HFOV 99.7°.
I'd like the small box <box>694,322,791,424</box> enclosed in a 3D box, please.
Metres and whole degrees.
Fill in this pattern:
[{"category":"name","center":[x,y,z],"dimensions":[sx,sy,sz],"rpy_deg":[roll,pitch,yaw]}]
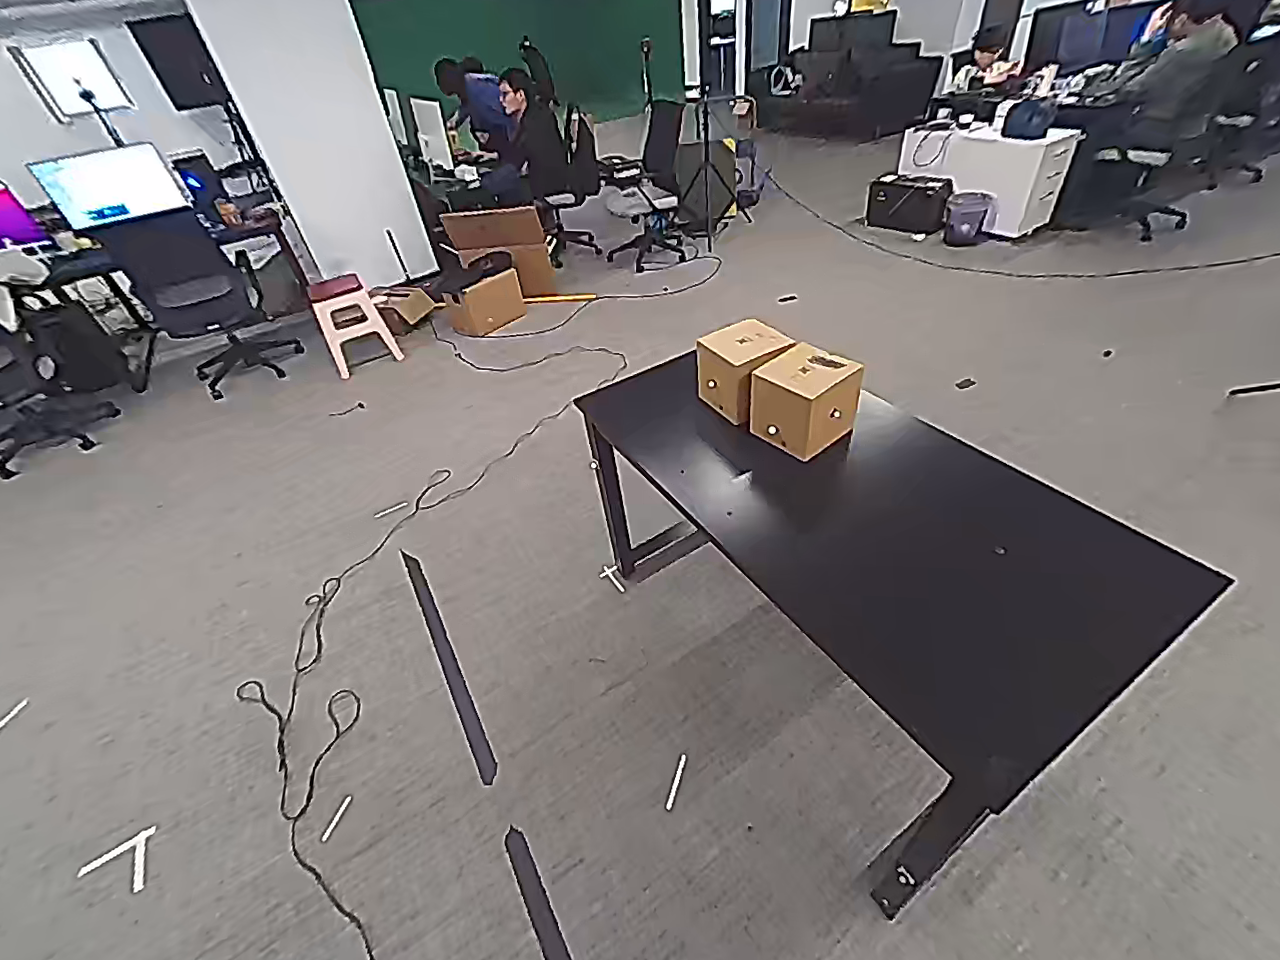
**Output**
[{"category":"small box","center":[0.253,-0.265,1.344],"dimensions":[0.179,0.176,0.168],"rpy_deg":[-24,44,-18]}]
